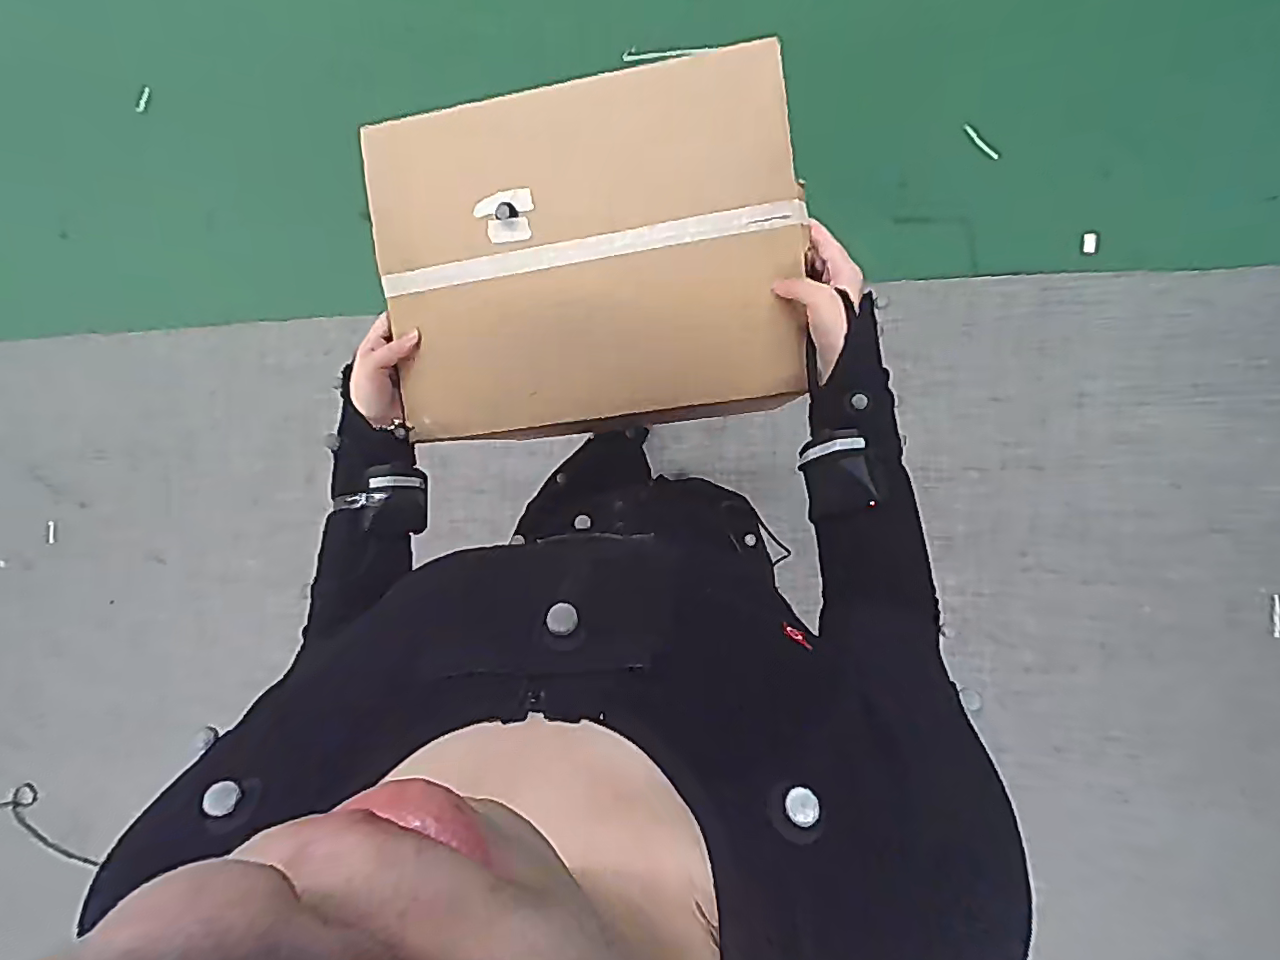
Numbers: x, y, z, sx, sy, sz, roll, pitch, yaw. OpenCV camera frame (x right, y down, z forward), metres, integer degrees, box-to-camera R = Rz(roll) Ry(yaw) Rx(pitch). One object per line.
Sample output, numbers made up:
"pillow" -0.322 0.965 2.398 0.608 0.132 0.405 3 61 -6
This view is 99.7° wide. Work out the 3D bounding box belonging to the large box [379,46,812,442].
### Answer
"large box" -0.030 -0.230 0.675 0.408 0.320 0.320 -7 93 9
